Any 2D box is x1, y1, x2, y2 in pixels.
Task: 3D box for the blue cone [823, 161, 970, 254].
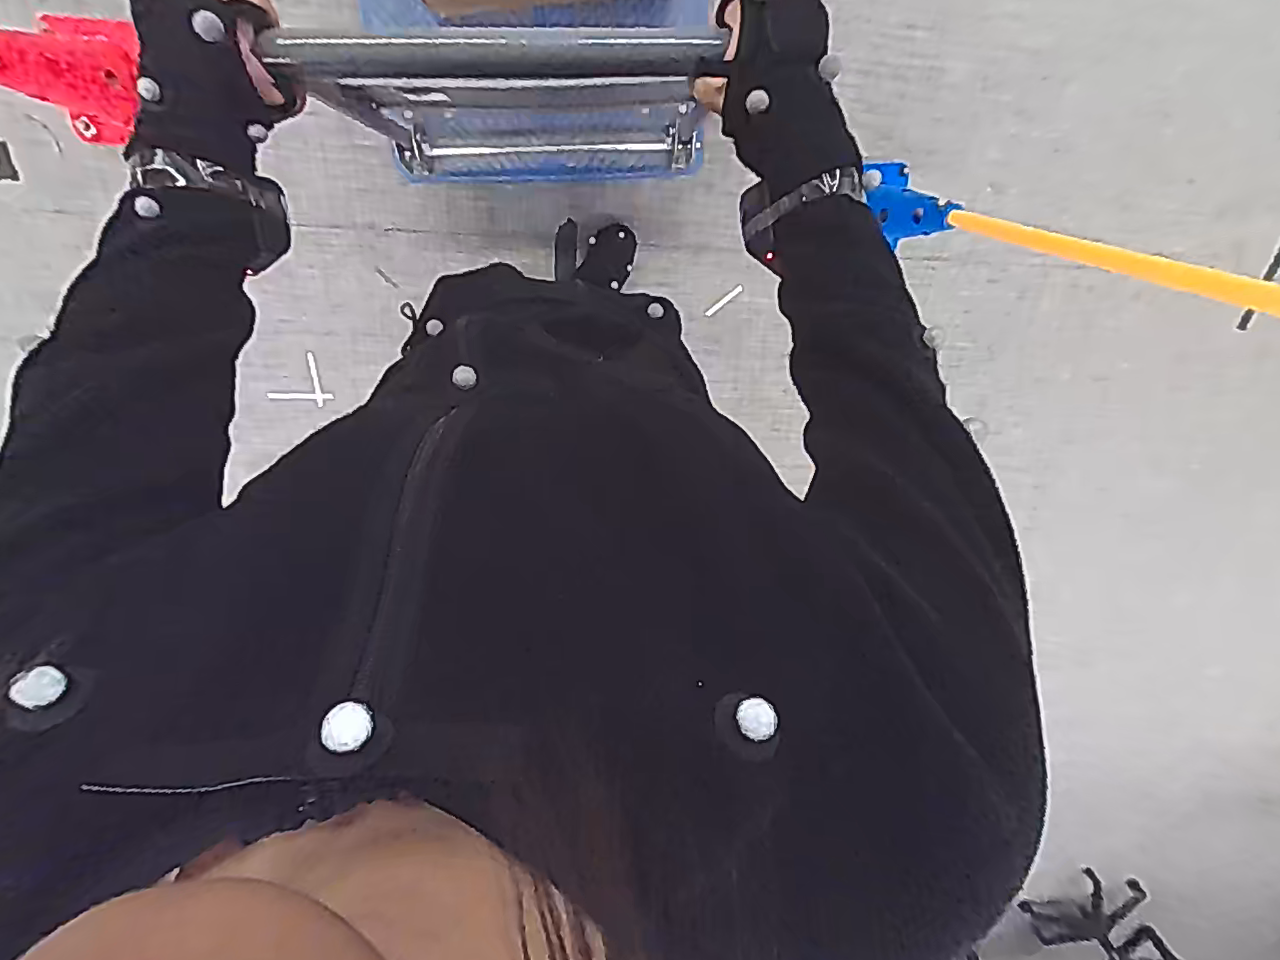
[{"bbox_3d":[0.537,-0.555,1.105,0.193,0.380,0.192,-3,117,-5],"label":"blue cone"}]
